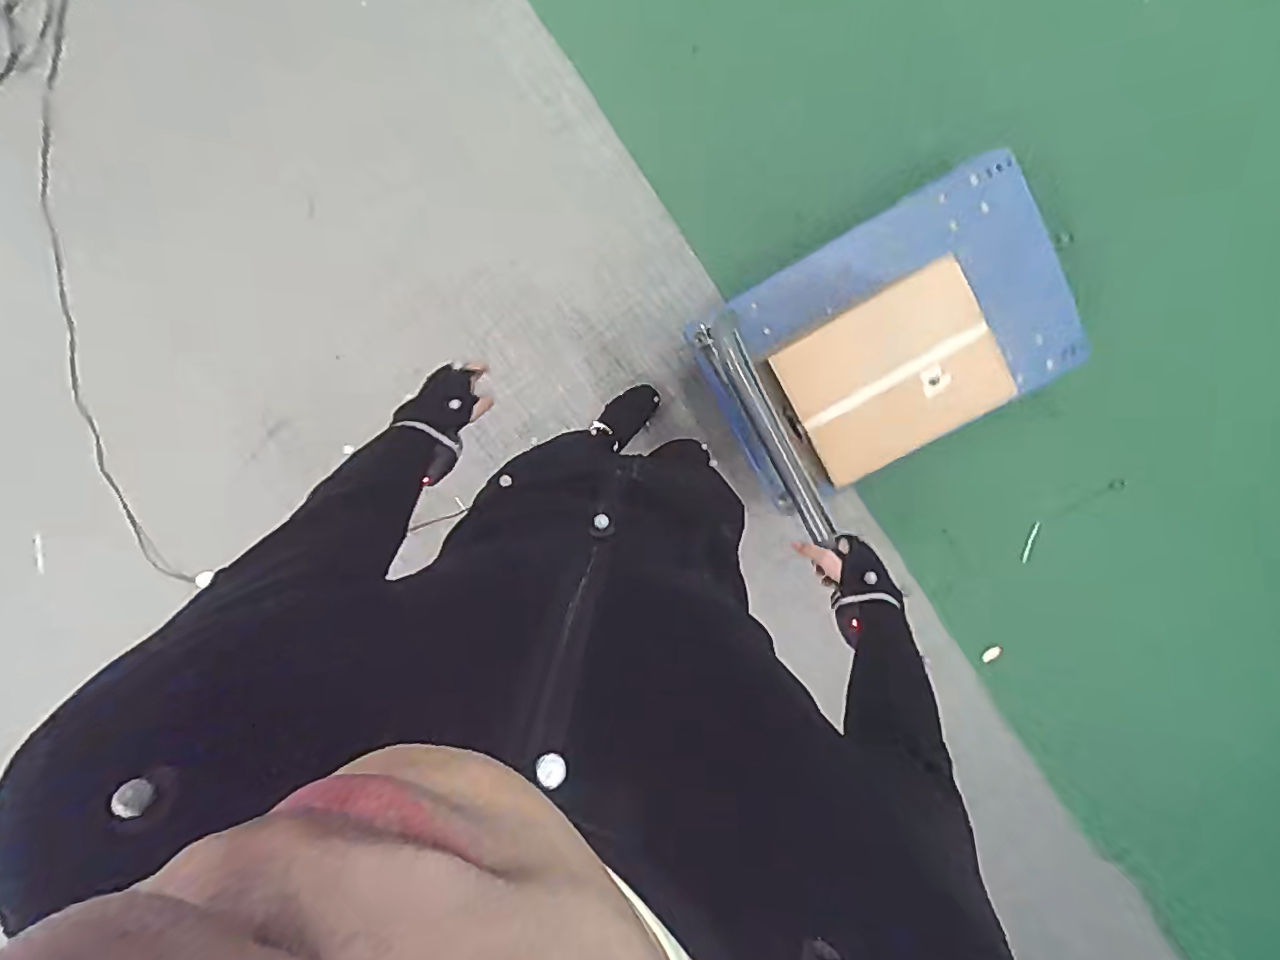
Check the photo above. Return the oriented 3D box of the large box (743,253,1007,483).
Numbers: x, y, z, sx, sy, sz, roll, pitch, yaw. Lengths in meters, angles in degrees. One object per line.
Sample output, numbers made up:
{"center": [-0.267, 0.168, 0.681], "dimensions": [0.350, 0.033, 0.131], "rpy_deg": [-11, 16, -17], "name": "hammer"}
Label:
{"center": [0.502, -0.241, 1.237], "dimensions": [0.408, 0.320, 0.320], "rpy_deg": [-29, 100, 6], "name": "large box"}
